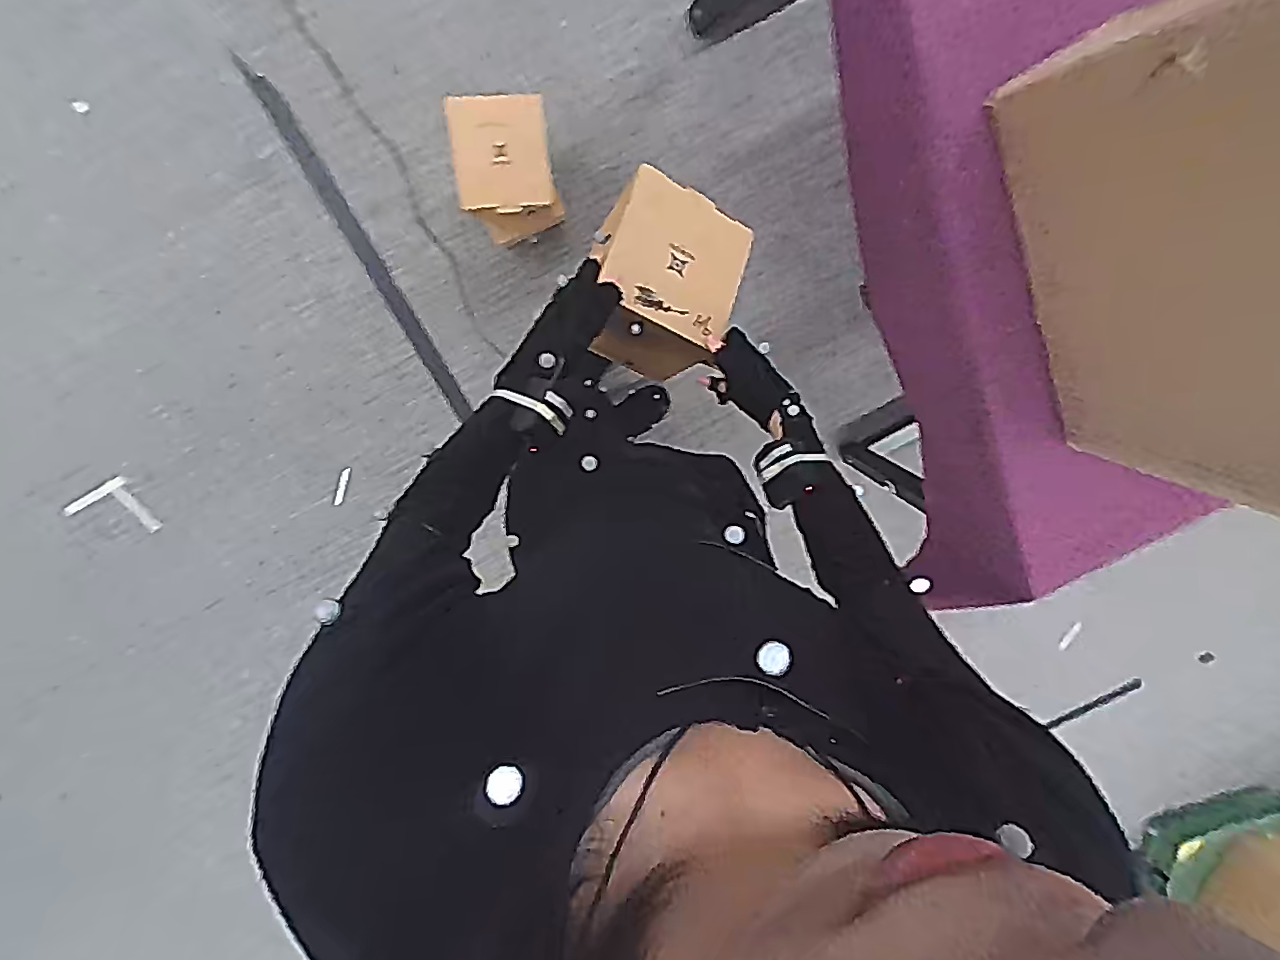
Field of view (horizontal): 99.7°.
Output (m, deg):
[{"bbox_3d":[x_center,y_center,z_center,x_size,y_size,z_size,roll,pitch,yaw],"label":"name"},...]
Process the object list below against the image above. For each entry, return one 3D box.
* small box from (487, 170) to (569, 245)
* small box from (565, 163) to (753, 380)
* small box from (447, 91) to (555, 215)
[{"bbox_3d":[-0.267,-0.633,1.181,0.168,0.176,0.179,-25,113,1],"label":"small box"},{"bbox_3d":[0.017,-0.256,0.710,0.168,0.176,0.179,22,79,-20],"label":"small box"},{"bbox_3d":[-0.251,-0.603,1.019,0.168,0.176,0.179,-7,110,-7],"label":"small box"}]
